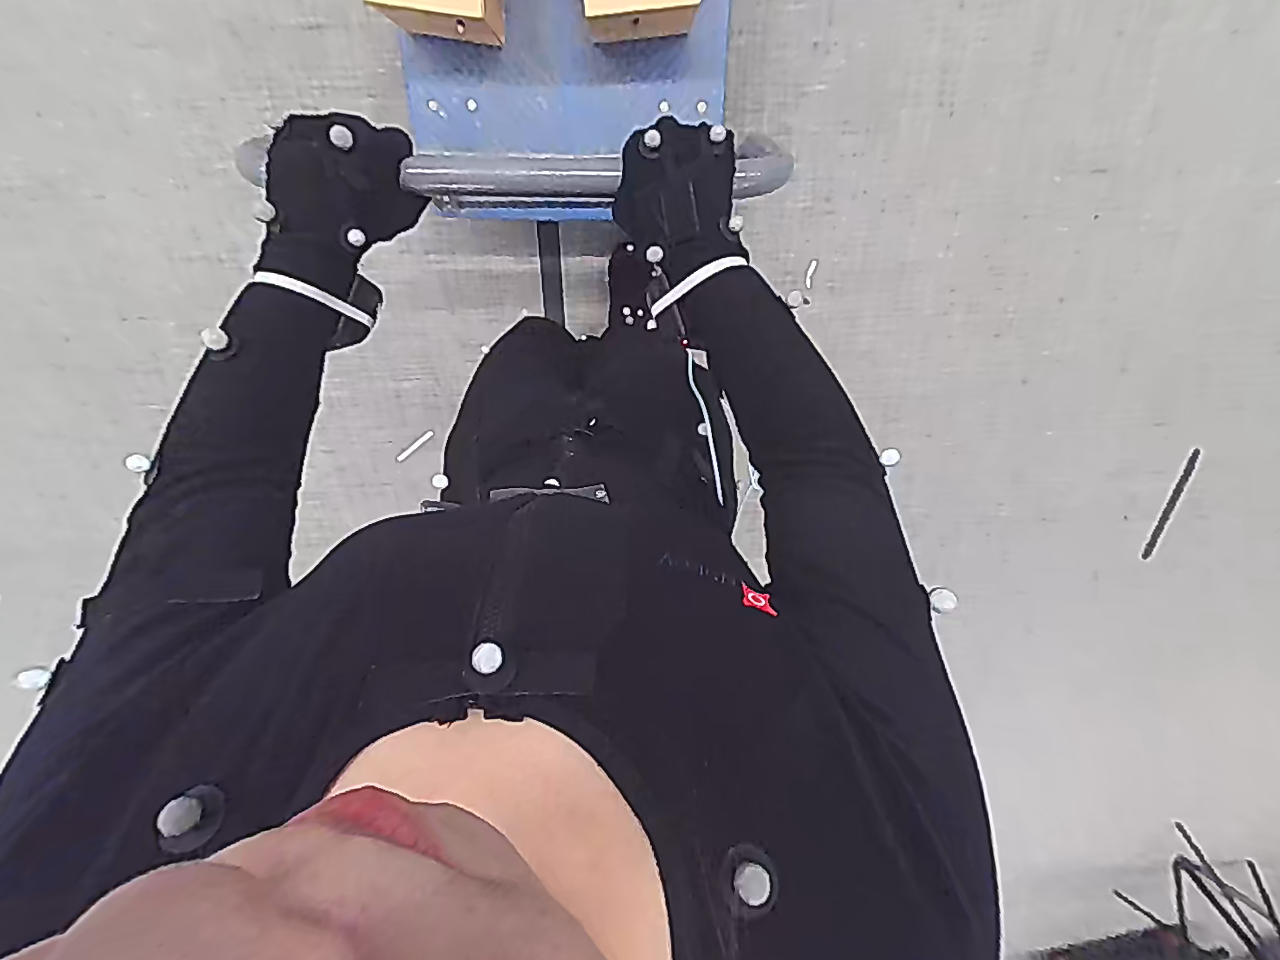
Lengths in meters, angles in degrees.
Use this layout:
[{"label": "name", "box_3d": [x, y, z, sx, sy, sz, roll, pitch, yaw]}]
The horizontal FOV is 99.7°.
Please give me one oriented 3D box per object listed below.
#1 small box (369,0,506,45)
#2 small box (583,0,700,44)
[{"label": "small box", "box_3d": [-0.309, -0.802, 0.836, 0.179, 0.176, 0.168, 4, 118, -6]}, {"label": "small box", "box_3d": [-0.002, -0.806, 0.842, 0.179, 0.176, 0.168, -5, 119, 1]}]
